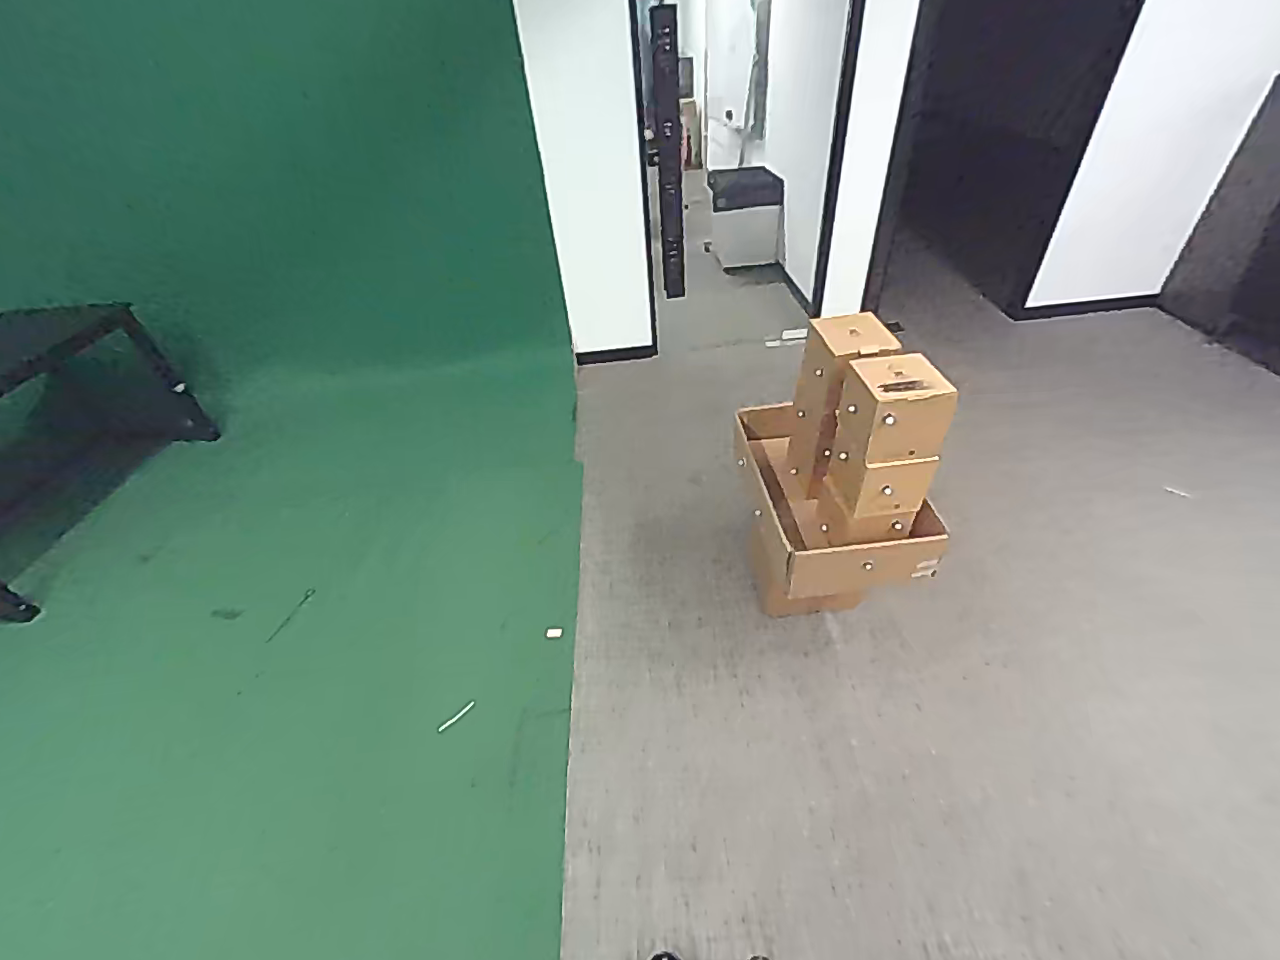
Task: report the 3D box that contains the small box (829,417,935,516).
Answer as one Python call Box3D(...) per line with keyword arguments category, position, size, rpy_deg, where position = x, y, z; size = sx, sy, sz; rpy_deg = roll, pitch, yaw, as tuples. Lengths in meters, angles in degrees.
Box3D(category="small box", position=(0.575, -0.027, 1.310), size=(0.168, 0.176, 0.179), rpy_deg=(-7, 41, -2))

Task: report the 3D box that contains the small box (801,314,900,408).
Box3D(category="small box", position=(0.525, -0.296, 1.374), size=(0.168, 0.176, 0.179), rpy_deg=(-7, 44, -3))

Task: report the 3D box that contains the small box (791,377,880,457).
Box3D(category="small box", position=(0.529, -0.179, 1.487), size=(0.168, 0.176, 0.179), rpy_deg=(-10, 44, -4))
